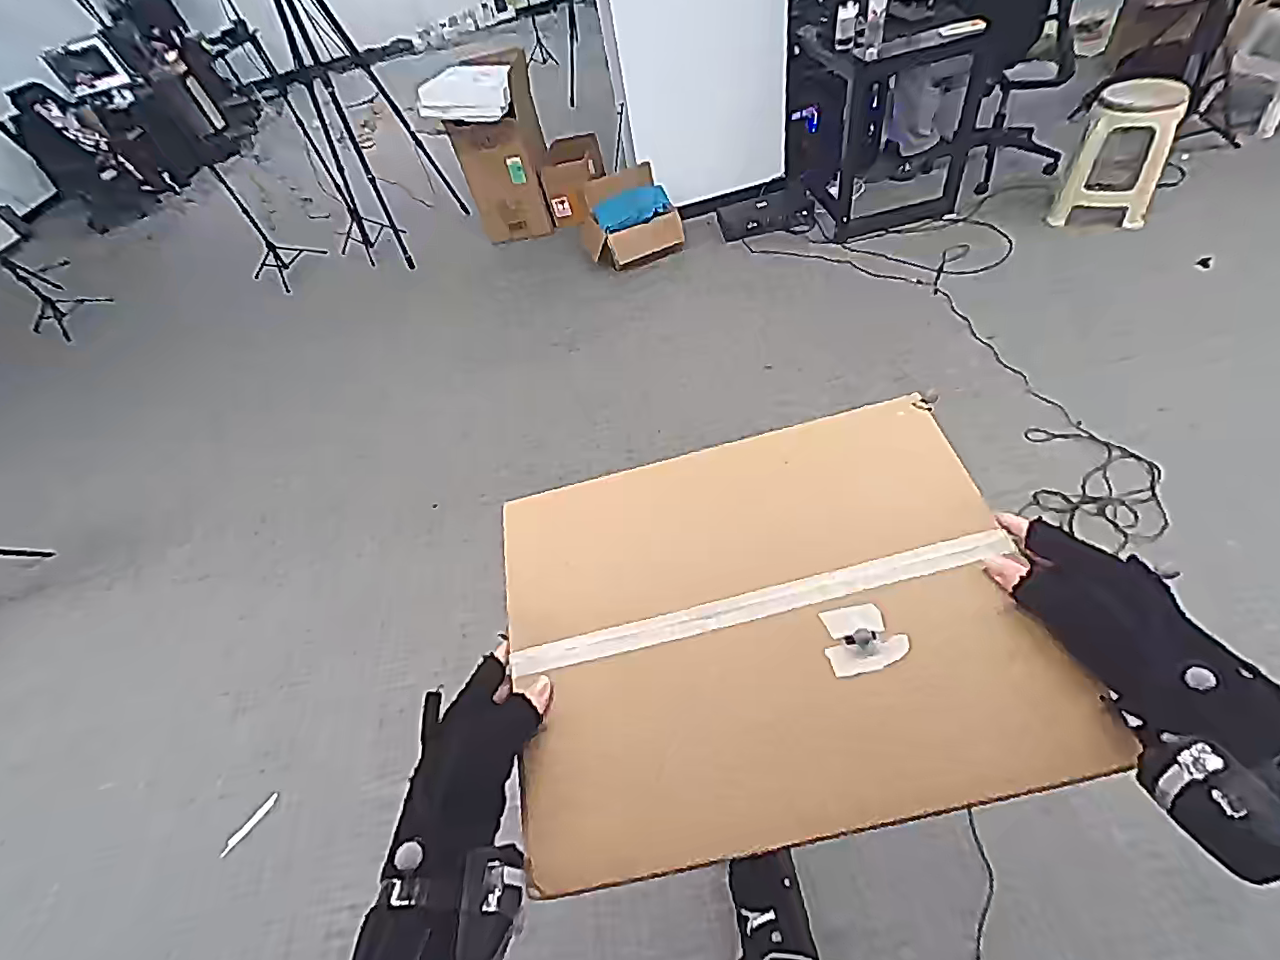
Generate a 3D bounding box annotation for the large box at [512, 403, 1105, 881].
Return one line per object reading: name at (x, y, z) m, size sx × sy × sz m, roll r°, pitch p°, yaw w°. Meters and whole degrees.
large box at (0.118, 0.179, 0.572) m, size 0.408 × 0.320 × 0.320 m, roll -15°, pitch 58°, yaw 3°
